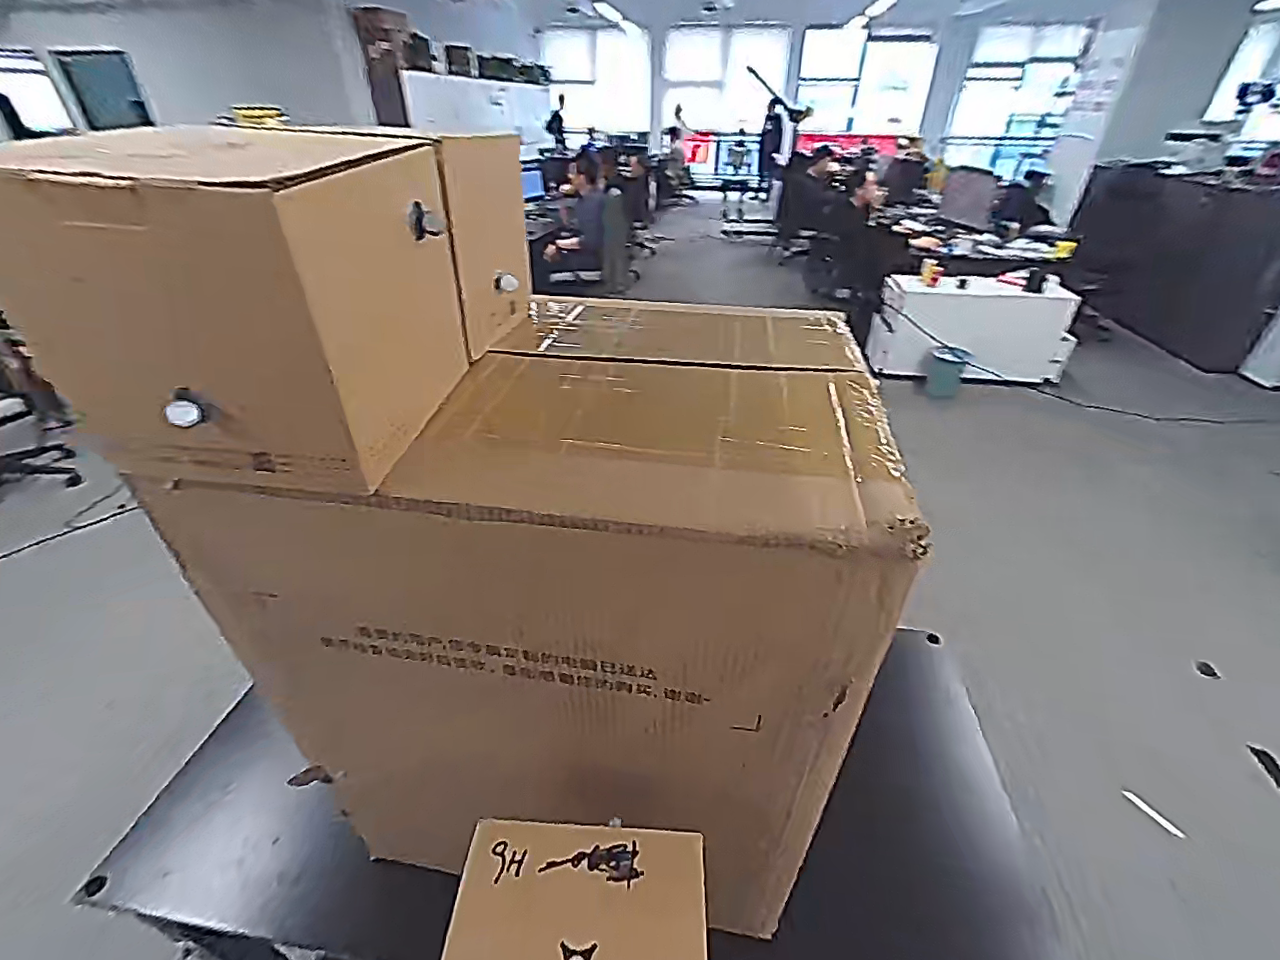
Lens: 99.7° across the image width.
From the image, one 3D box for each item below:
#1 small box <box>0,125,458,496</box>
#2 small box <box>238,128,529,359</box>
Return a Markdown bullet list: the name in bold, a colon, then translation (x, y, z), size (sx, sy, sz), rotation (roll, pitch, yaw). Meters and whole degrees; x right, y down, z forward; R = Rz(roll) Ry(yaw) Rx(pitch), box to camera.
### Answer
- **small box**: translation (-0.228, -0.113, 0.343), size (0.168, 0.176, 0.179), rotation (4, 38, 2)
- **small box**: translation (-0.213, -0.216, 0.492), size (0.179, 0.176, 0.168), rotation (6, 34, 6)
